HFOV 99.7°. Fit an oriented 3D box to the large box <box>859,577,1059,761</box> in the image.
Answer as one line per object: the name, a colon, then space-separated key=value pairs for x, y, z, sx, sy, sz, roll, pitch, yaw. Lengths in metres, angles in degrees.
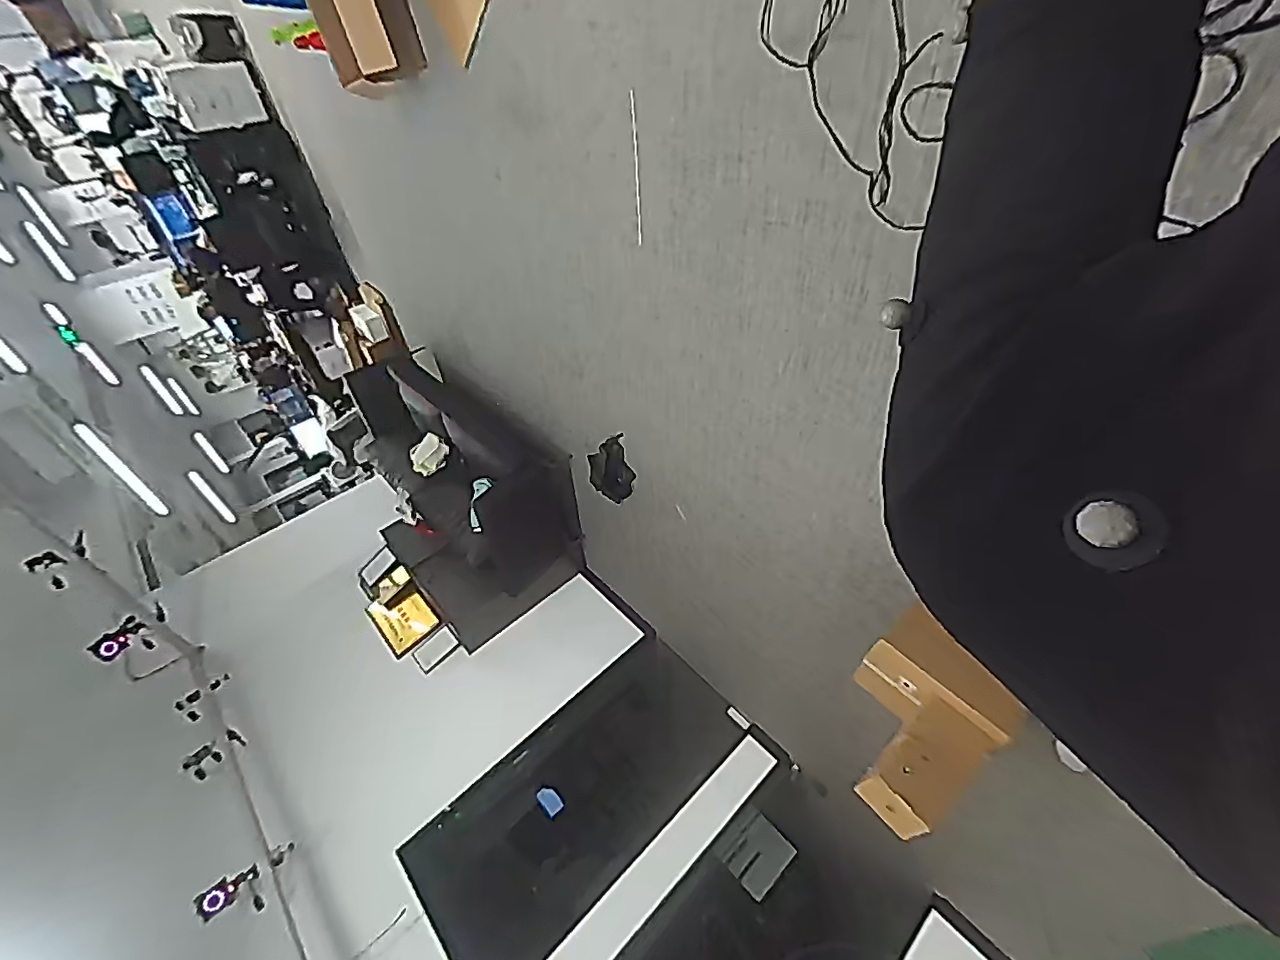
large box: x=1.001 y=0.595 z=1.734 sx=0.408 sy=0.320 sz=0.320 roll=40 pitch=148 yaw=31

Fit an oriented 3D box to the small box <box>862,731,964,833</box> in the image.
small box: x=0.756 y=0.830 z=1.495 sx=0.168 sy=0.176 sz=0.179 roll=43 pitch=152 yaw=29
